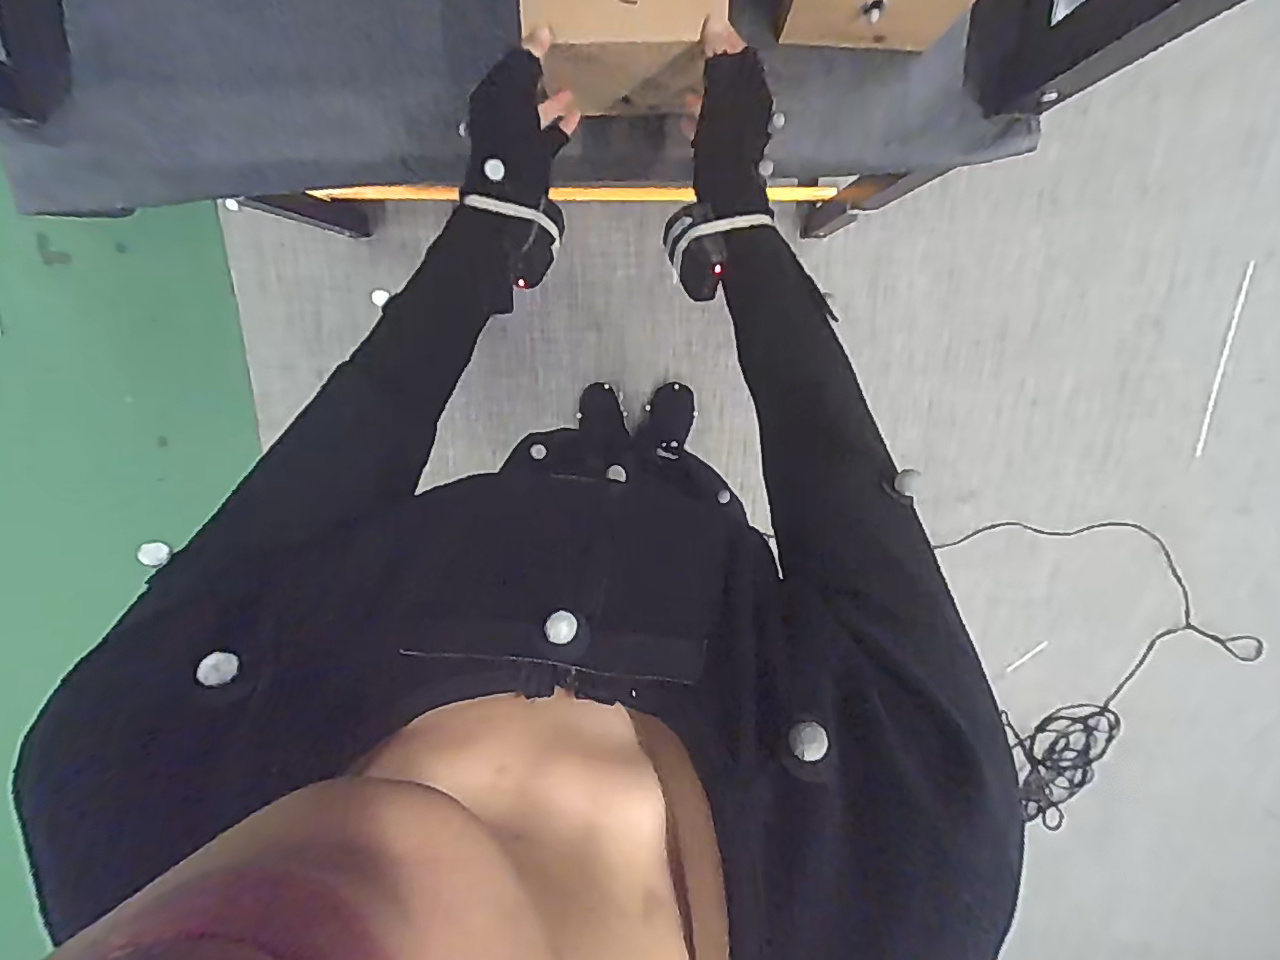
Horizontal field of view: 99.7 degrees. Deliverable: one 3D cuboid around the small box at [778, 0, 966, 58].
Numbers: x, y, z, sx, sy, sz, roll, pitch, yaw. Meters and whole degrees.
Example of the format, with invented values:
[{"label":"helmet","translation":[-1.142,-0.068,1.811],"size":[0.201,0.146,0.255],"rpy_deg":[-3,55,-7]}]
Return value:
[{"label":"small box","translation":[0.233,-0.530,0.499],"size":[0.168,0.176,0.179],"rpy_deg":[5,105,0]}]
